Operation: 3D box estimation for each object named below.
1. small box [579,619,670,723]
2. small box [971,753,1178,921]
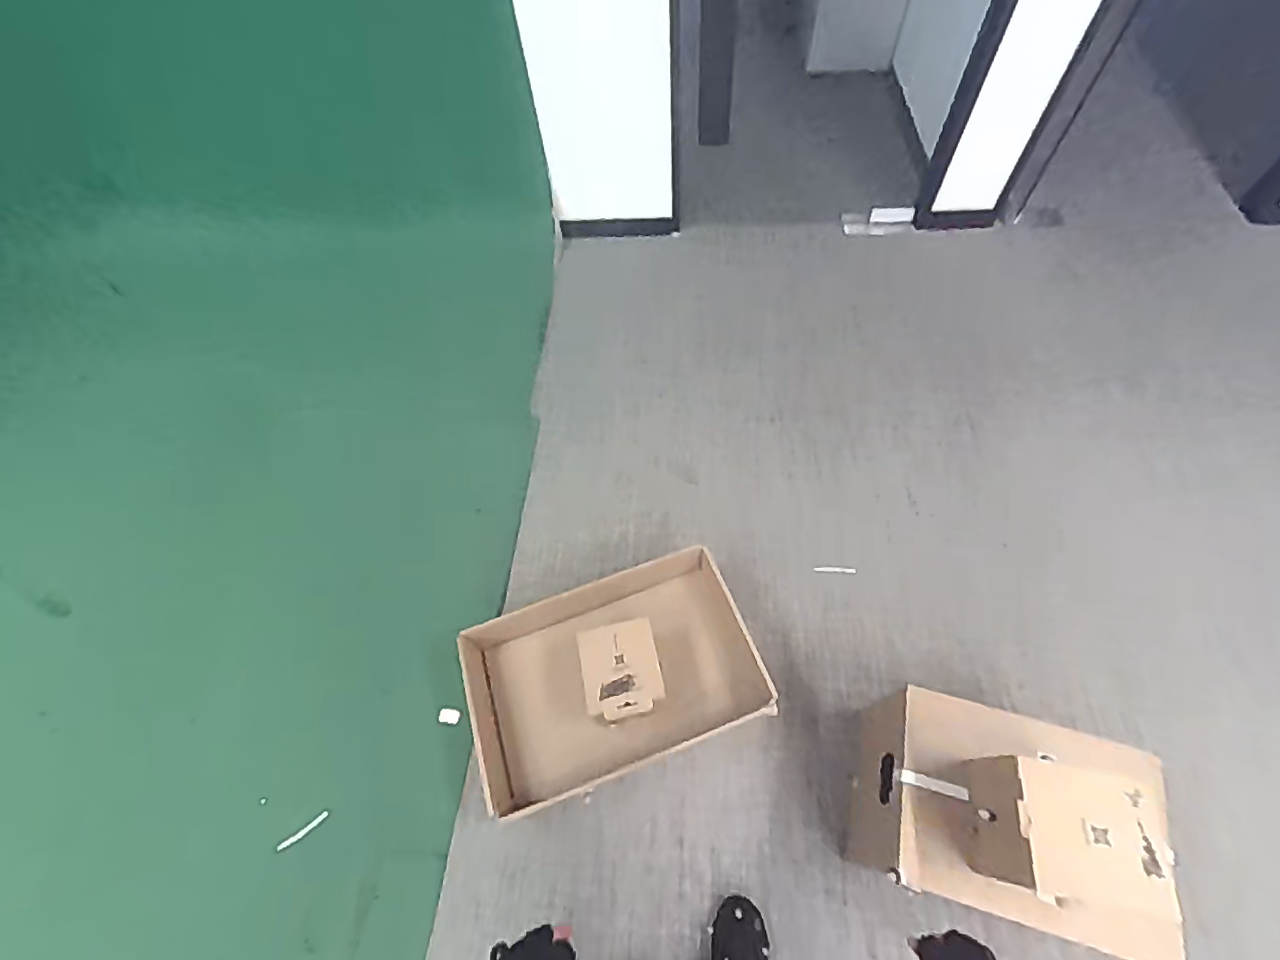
[{"bbox_3d":[-0.032,0.435,1.214,0.168,0.176,0.179,-13,57,-2],"label":"small box"},{"bbox_3d":[0.618,0.520,0.804,0.179,0.176,0.168,7,61,9],"label":"small box"}]
